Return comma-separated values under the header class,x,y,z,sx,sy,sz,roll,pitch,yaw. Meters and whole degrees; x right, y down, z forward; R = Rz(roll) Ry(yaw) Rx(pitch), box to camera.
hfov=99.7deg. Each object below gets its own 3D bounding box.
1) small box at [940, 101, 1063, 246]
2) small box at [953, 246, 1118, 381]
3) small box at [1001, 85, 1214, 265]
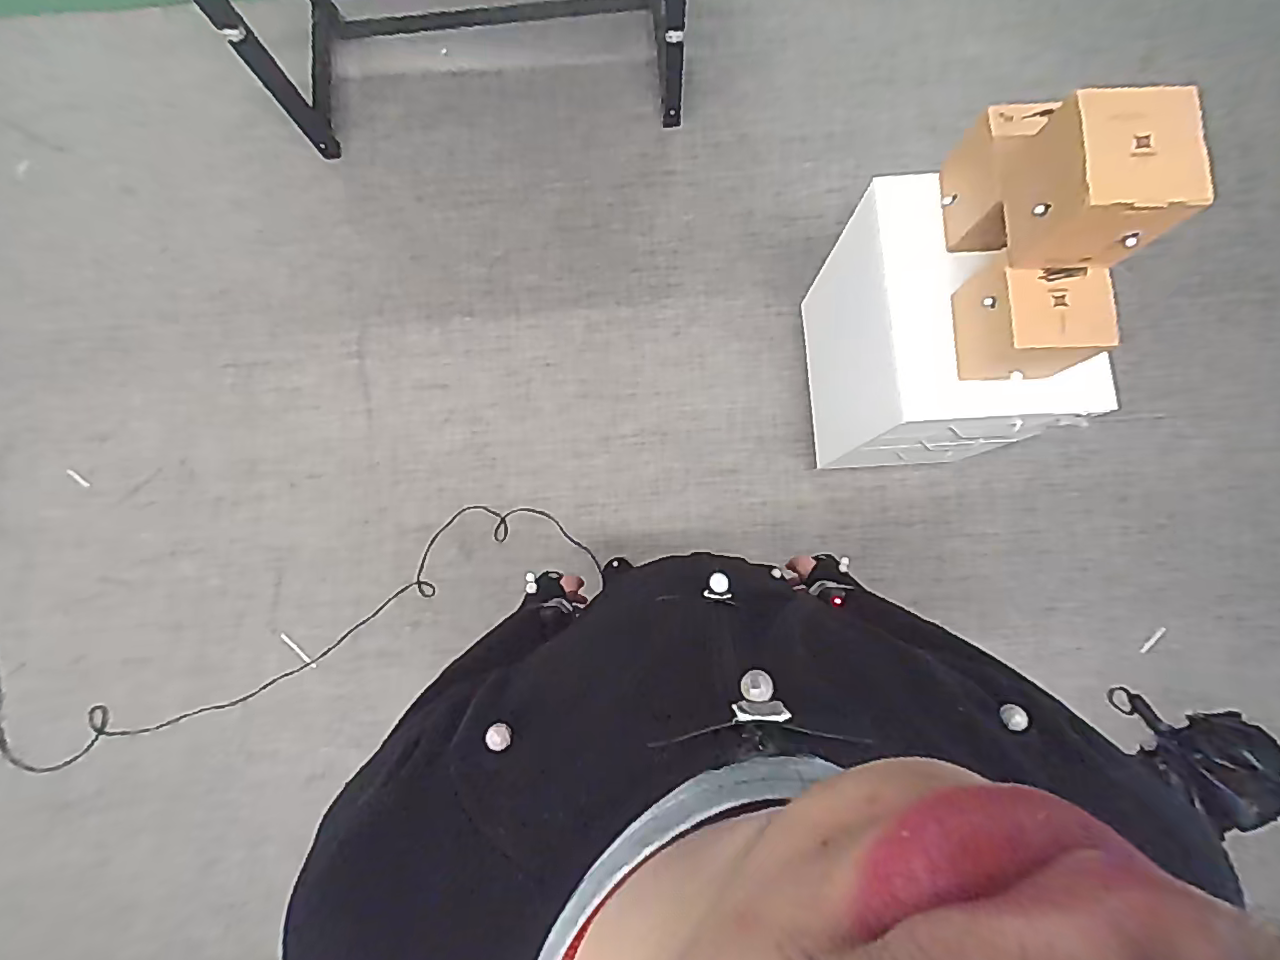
class,x,y,z,sx,sy,sz,roll,pitch,yaw
small box,0.674,-0.542,0.981,0.168,0.176,0.179,-3,84,1
small box,0.676,-0.285,0.946,0.168,0.176,0.179,-1,82,2
small box,0.675,-0.439,0.804,0.168,0.176,0.179,-1,81,1
